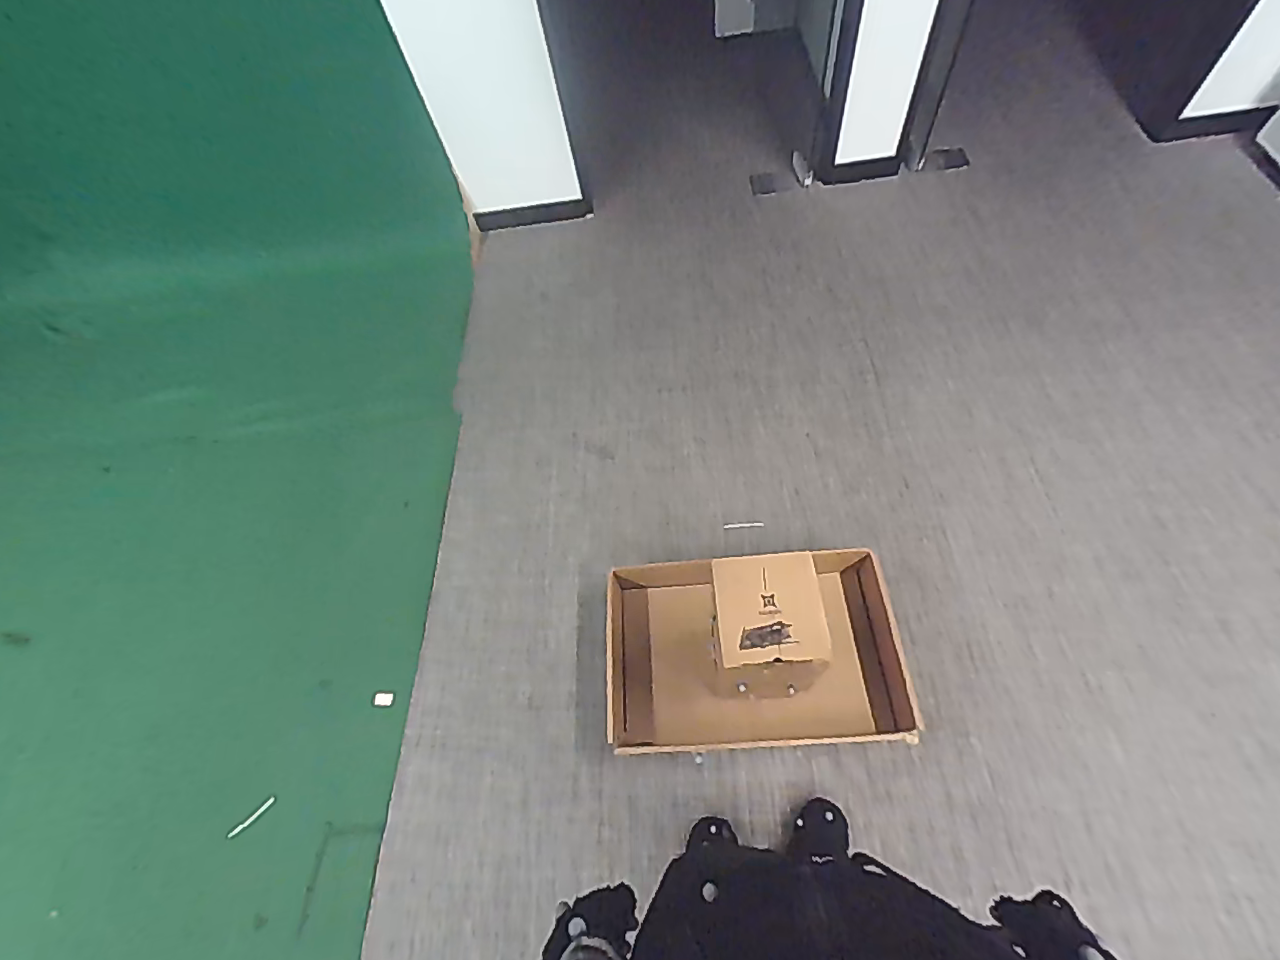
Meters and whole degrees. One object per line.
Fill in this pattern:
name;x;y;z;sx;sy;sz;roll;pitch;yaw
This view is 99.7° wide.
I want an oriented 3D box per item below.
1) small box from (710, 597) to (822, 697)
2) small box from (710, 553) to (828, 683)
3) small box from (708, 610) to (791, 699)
small box;0.233;0.315;1.047;0.179;0.176;0.168;-8;59;4
small box;0.210;0.242;0.920;0.168;0.176;0.179;-5;58;5
small box;0.252;0.389;1.212;0.179;0.176;0.168;-7;59;5
